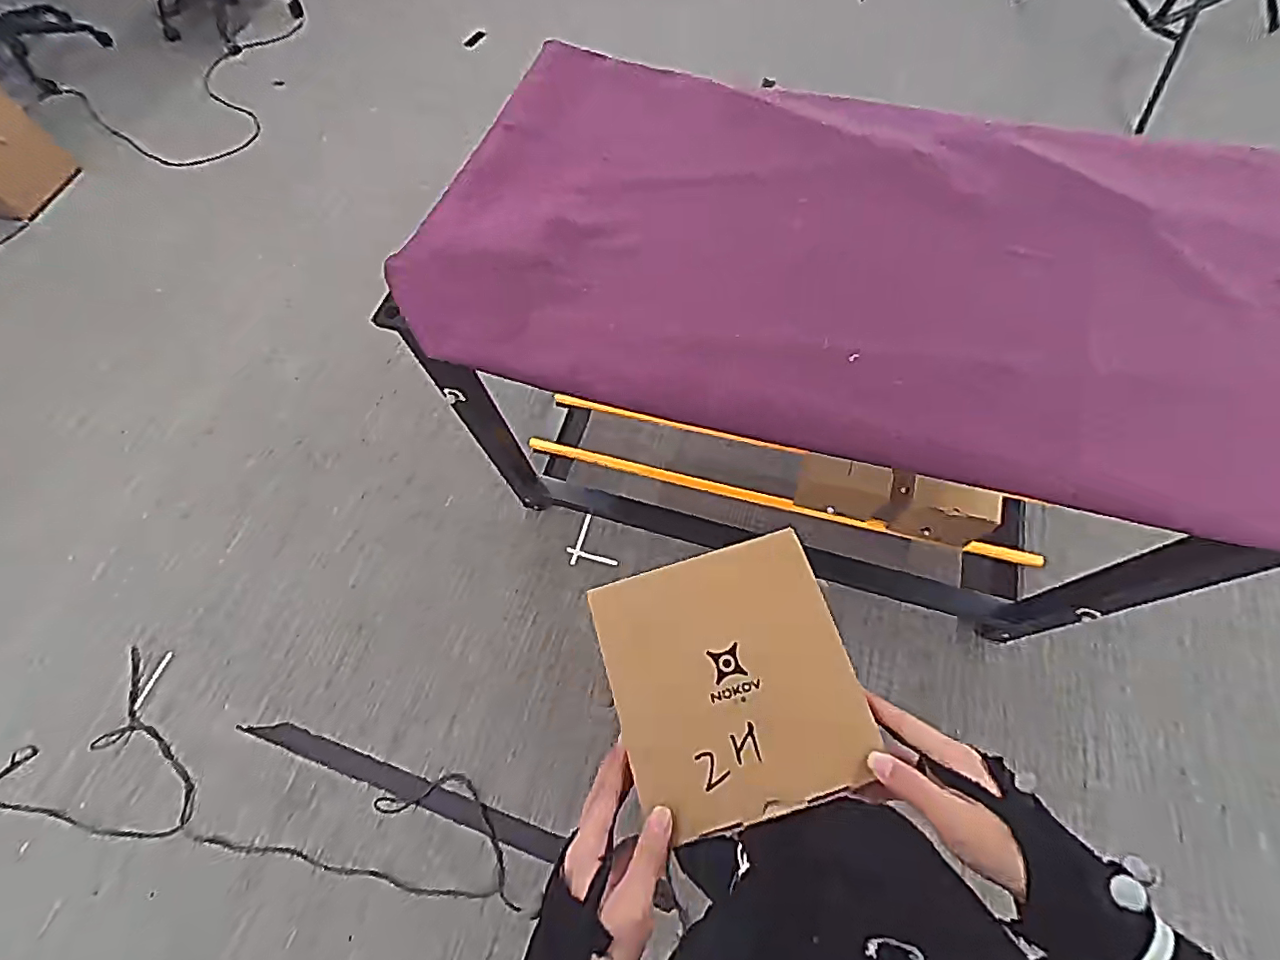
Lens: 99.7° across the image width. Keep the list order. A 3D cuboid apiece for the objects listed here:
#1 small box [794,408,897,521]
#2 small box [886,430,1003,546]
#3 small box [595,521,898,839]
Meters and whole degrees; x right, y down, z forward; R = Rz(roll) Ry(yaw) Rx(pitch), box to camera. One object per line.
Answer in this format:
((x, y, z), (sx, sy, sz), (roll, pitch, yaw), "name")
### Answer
((0.448, -0.030, 1.198), (0.168, 0.176, 0.179), (13, 69, 11), "small box")
((0.645, 0.021, 1.158), (0.168, 0.176, 0.179), (13, 69, 11), "small box")
((0.070, 0.157, 0.444), (0.168, 0.176, 0.179), (-16, 68, -1), "small box")
